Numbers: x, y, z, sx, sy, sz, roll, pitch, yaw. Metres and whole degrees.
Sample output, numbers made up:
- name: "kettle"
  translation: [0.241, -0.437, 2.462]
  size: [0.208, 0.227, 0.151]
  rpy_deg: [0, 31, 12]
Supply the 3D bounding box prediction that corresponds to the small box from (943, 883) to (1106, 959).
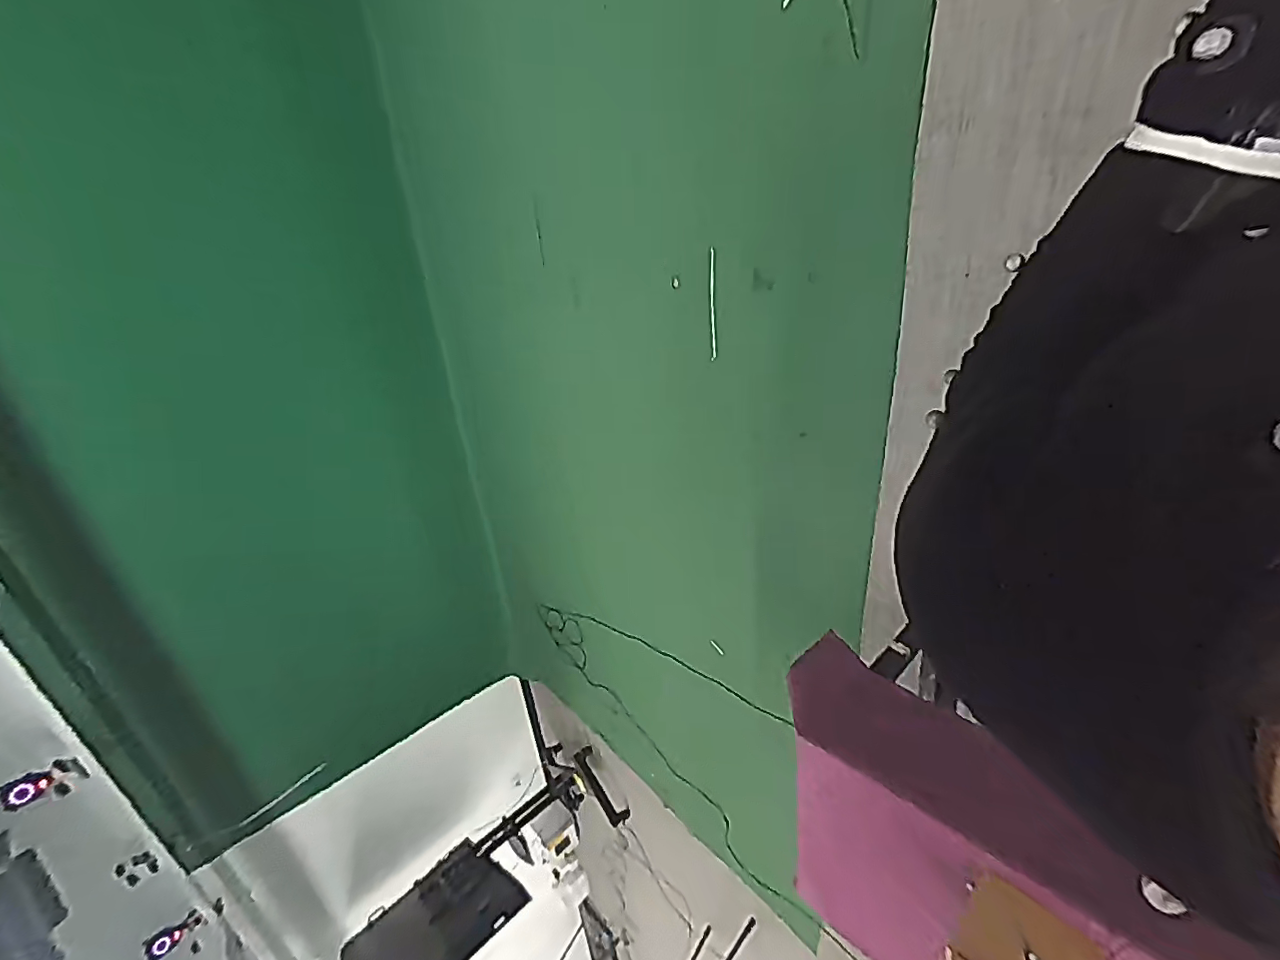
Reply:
- name: "small box"
  translation: [0.609, 0.806, 0.875]
  size: [0.179, 0.176, 0.168]
  rpy_deg: [21, 126, 43]
